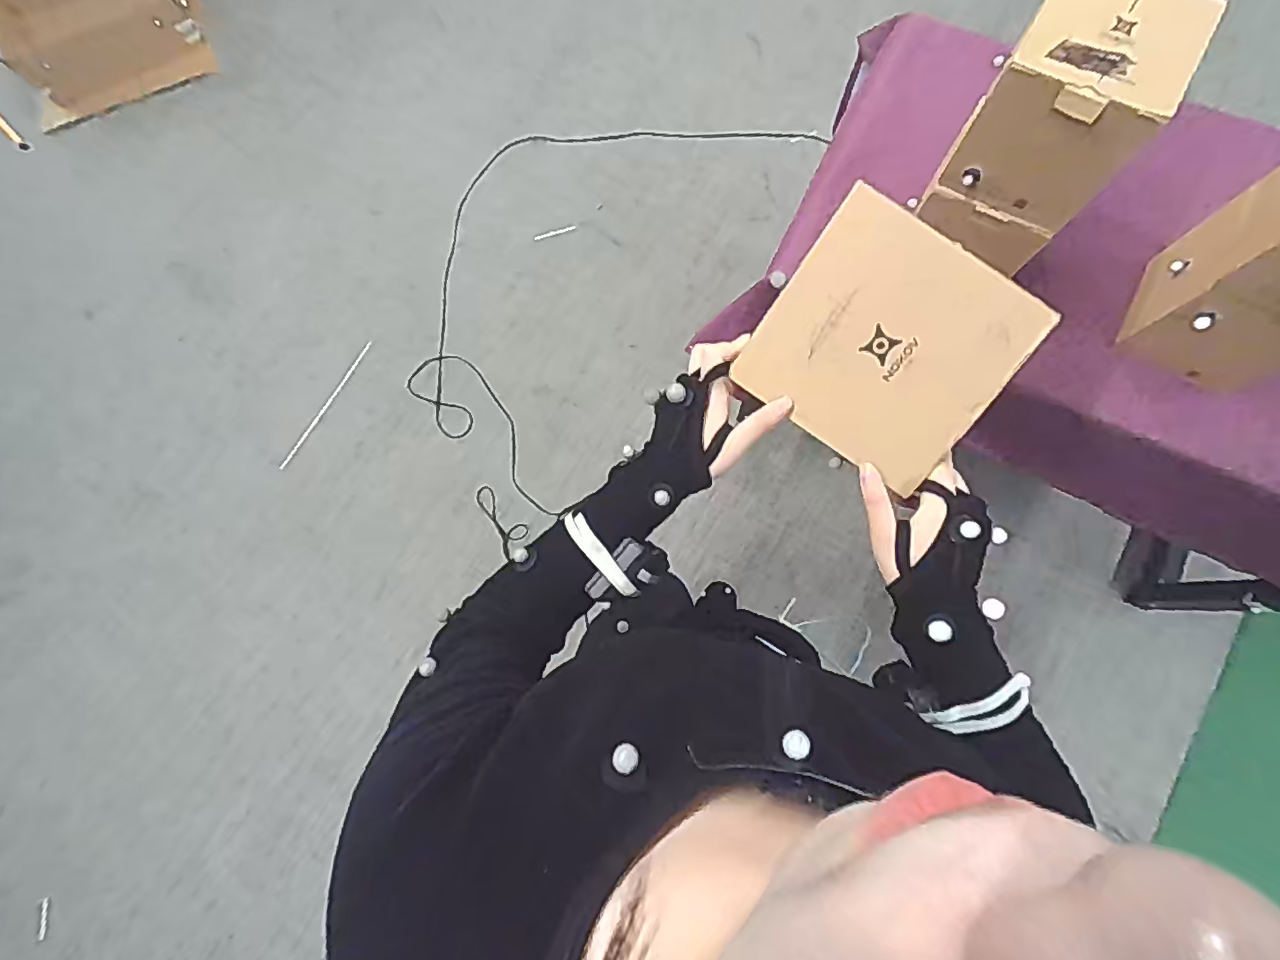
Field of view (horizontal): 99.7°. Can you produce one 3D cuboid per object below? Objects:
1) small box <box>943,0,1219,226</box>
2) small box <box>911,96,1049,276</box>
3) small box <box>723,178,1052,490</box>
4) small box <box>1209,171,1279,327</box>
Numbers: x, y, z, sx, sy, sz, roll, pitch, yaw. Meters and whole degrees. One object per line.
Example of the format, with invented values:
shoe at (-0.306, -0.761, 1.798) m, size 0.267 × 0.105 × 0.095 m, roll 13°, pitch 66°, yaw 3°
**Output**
small box at (0.501, -0.446, 0.645) m, size 0.168 × 0.176 × 0.179 m, roll 31°, pitch 80°, yaw 8°
small box at (0.503, -0.406, 0.806) m, size 0.168 × 0.176 × 0.179 m, roll 30°, pitch 82°, yaw 8°
small box at (0.192, -0.122, 0.480) m, size 0.179 × 0.176 × 0.168 m, roll 36°, pitch 106°, yaw 0°
small box at (0.806, -0.283, 0.595) m, size 0.168 × 0.176 × 0.179 m, roll 32°, pitch 81°, yaw 9°
